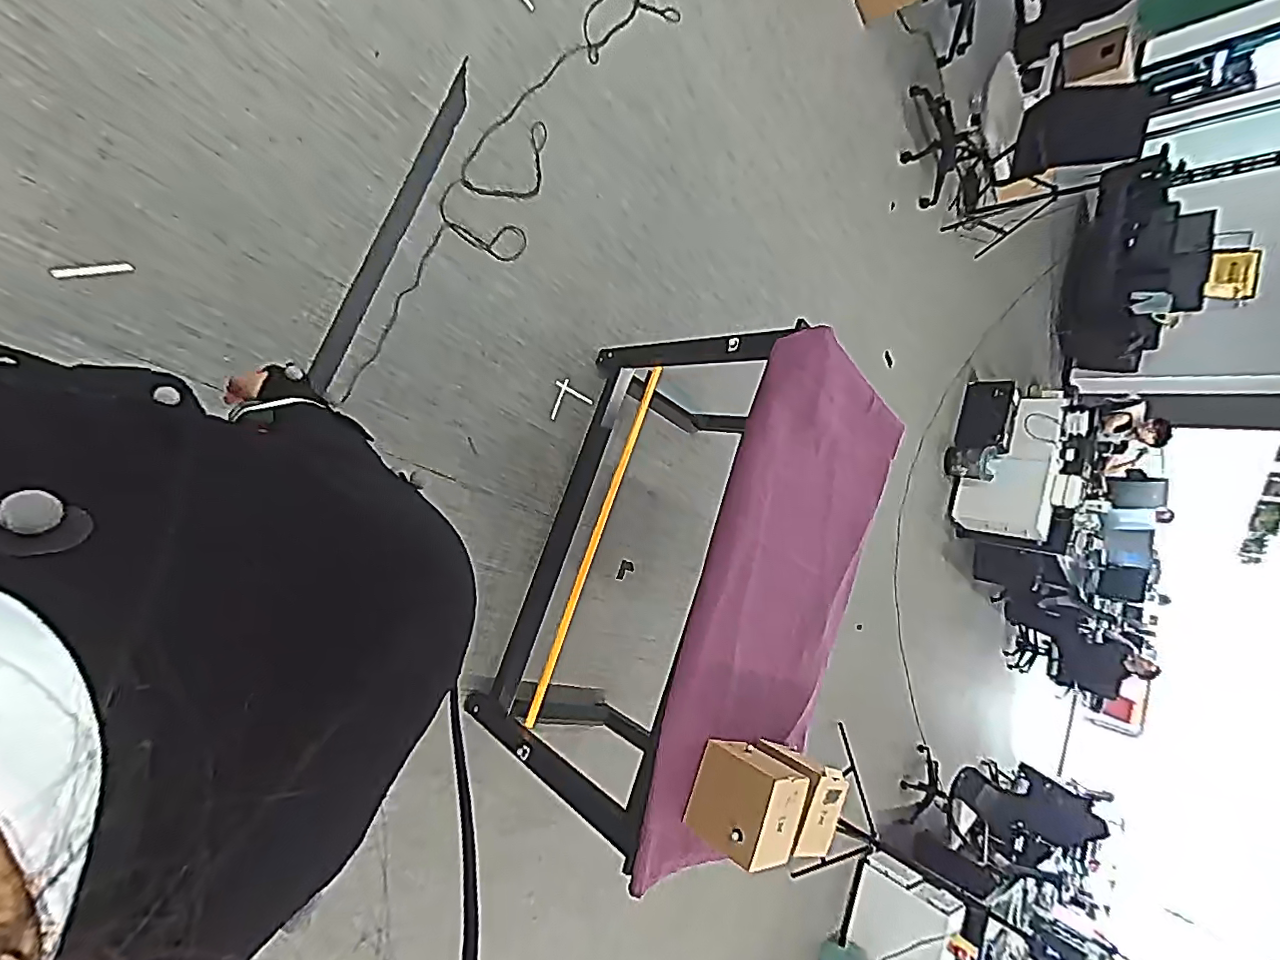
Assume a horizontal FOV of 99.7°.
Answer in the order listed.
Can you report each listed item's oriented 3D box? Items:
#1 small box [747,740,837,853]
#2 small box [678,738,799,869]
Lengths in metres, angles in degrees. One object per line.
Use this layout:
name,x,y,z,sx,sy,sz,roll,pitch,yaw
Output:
small box,0.333,0.744,1.279,0.168,0.176,0.179,36,73,-40
small box,0.204,0.674,1.142,0.168,0.176,0.179,32,74,-44
